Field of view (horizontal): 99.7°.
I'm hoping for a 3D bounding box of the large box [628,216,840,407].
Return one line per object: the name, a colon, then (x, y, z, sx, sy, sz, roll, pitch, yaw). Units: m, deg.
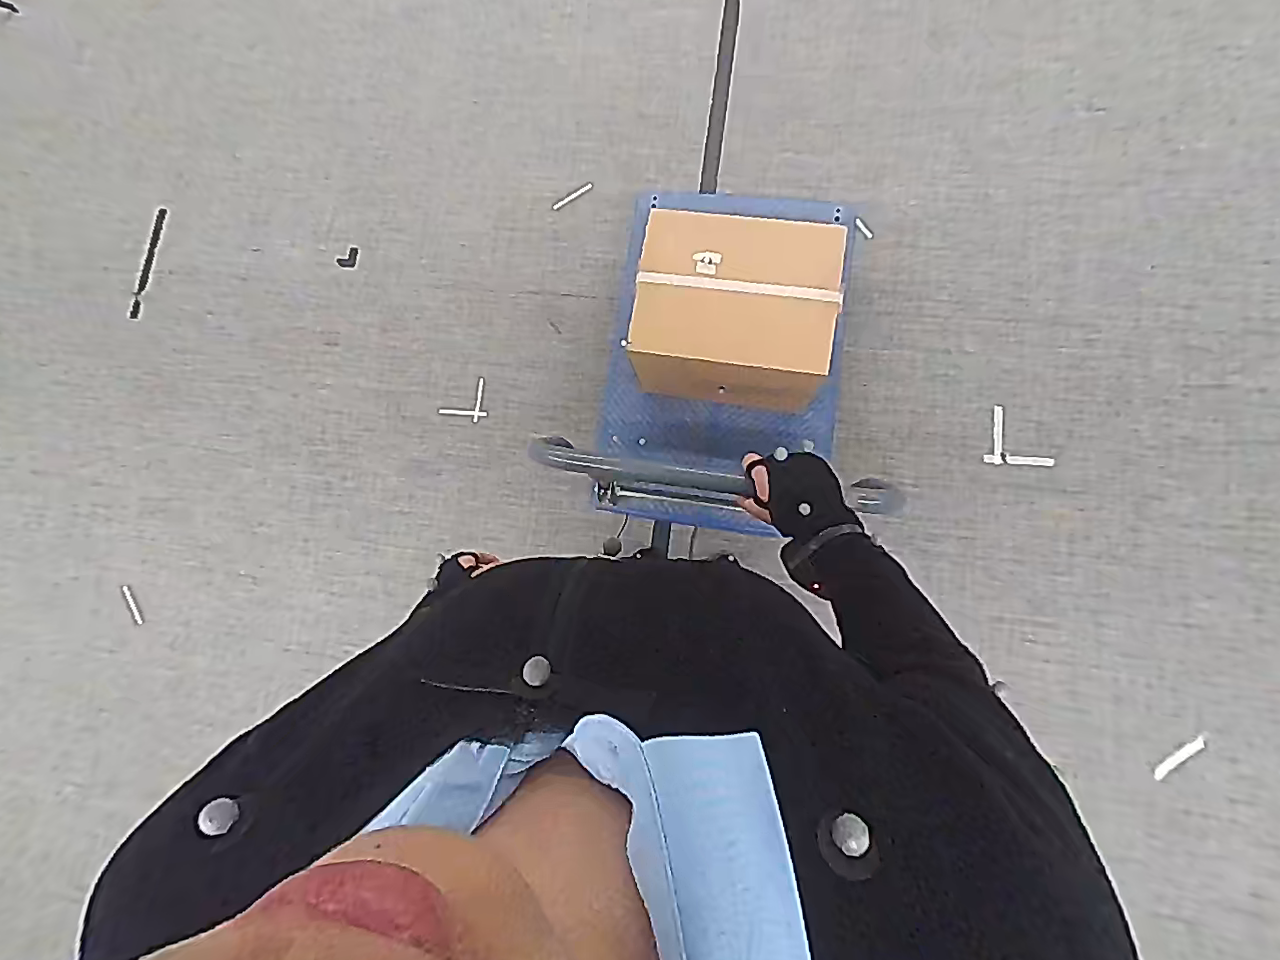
large box: (0.212, -0.369, 1.250, 0.408, 0.320, 0.320, 8, 83, 9)
